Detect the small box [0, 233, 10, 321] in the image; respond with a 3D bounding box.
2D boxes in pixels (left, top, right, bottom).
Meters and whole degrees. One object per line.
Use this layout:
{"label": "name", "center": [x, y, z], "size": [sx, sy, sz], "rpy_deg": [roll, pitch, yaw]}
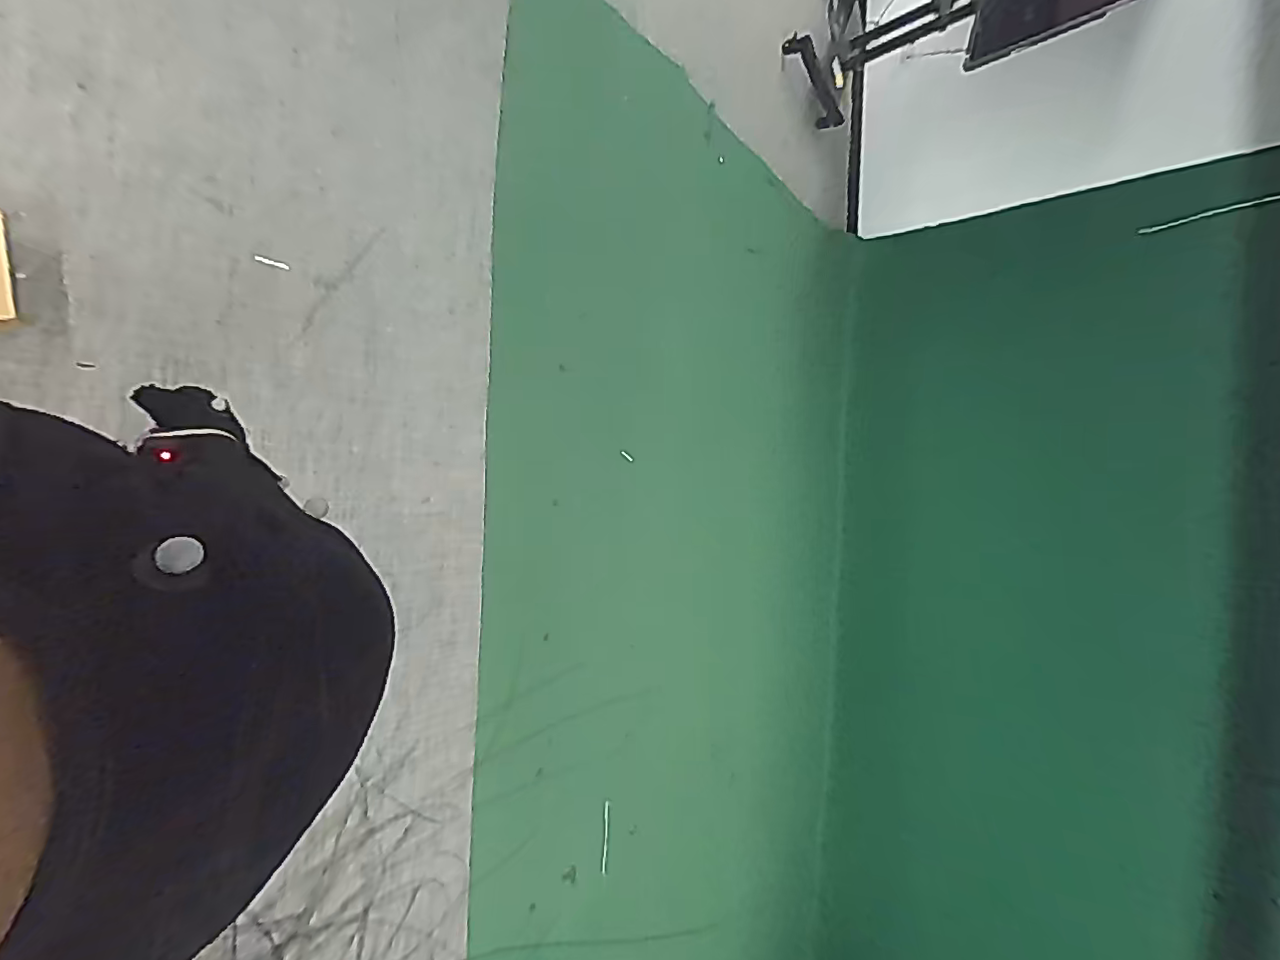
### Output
{"label": "small box", "center": [-1.137, -0.357, 0.856], "size": [0.168, 0.176, 0.179], "rpy_deg": [-8, 101, -49]}
